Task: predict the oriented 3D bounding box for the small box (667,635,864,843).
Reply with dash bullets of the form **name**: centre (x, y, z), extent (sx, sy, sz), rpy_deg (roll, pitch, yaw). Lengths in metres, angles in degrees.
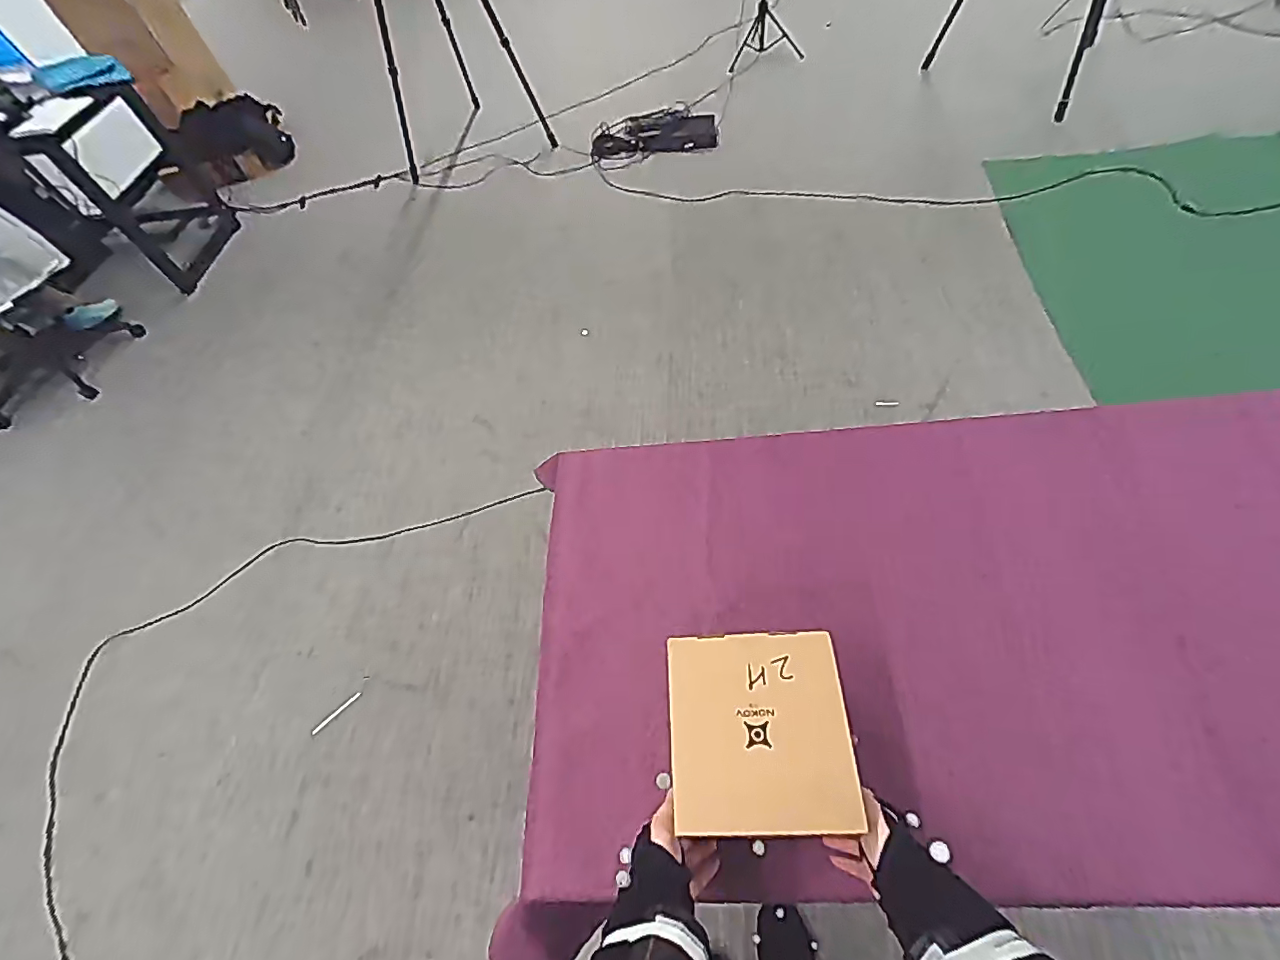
- **small box**: centre (0.120, 0.277, 0.571), extent (0.168, 0.176, 0.179), rpy_deg (-4, 56, 6)
